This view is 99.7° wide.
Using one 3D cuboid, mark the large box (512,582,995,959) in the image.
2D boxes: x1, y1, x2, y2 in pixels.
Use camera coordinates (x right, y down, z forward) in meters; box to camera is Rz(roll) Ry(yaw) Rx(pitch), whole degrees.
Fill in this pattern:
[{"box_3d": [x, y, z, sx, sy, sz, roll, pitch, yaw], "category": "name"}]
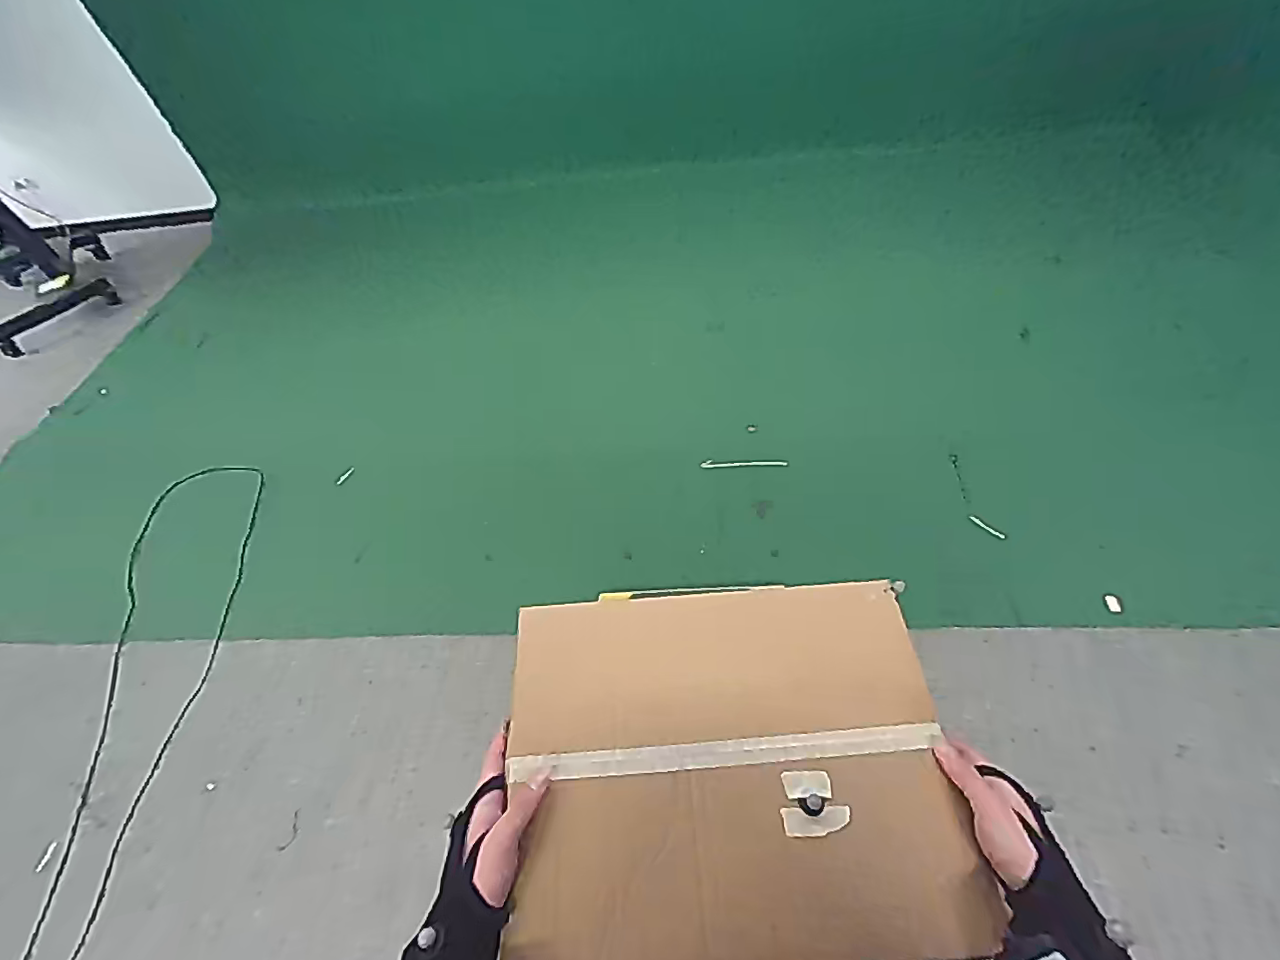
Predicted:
[{"box_3d": [0.084, 0.341, 0.639, 0.408, 0.320, 0.320, -4, 56, -1], "category": "large box"}]
